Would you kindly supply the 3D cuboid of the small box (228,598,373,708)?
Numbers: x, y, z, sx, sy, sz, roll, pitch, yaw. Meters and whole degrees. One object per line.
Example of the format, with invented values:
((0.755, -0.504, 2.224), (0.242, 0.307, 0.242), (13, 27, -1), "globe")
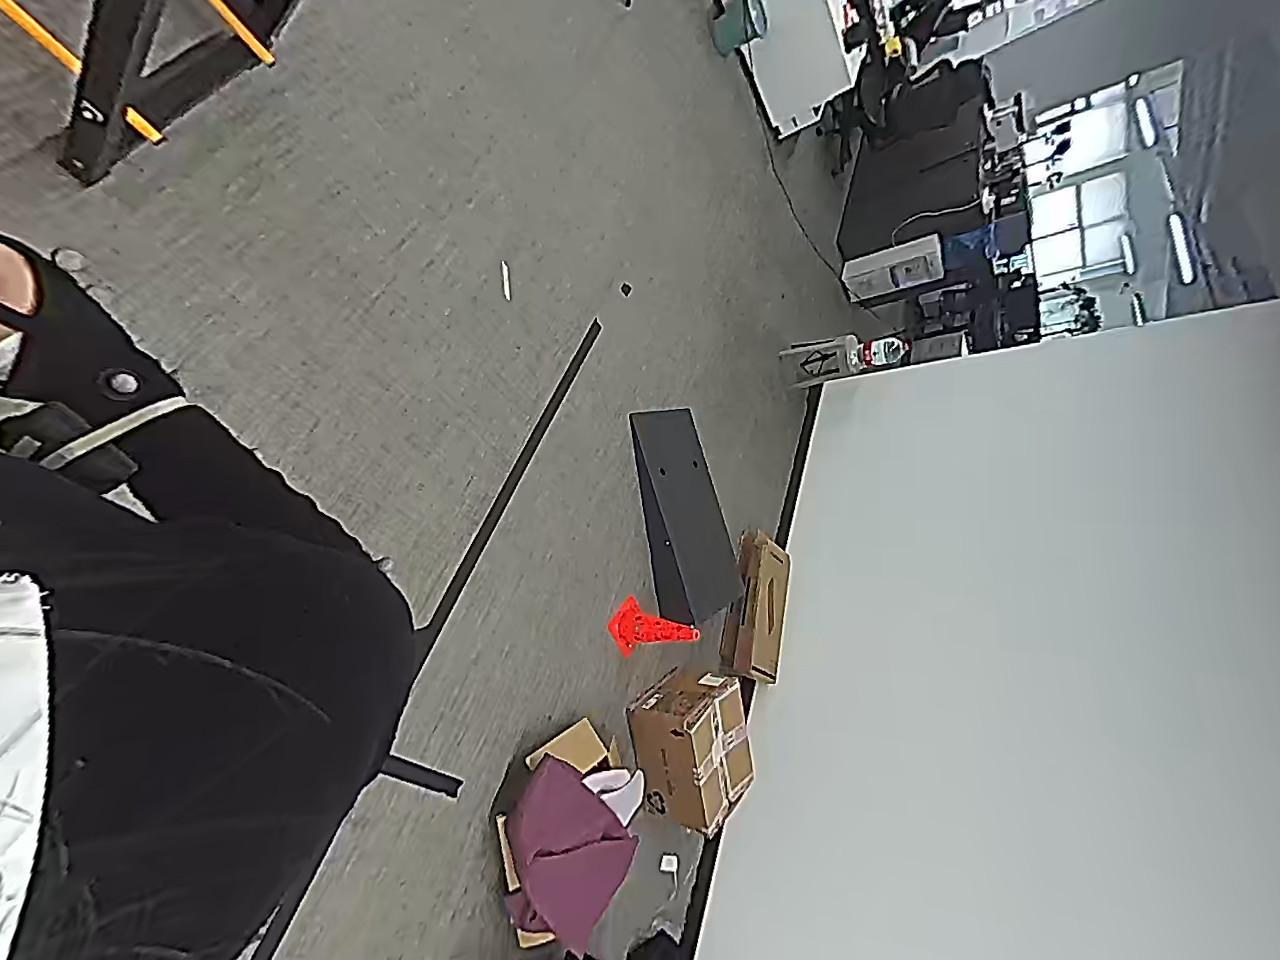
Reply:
((-0.723, 0.363, 1.150), (0.179, 0.176, 0.168), (47, 51, -37), "small box")

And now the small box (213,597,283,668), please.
((-0.841, 0.381, 1.264), (0.179, 0.176, 0.168), (45, 52, -37), "small box")
